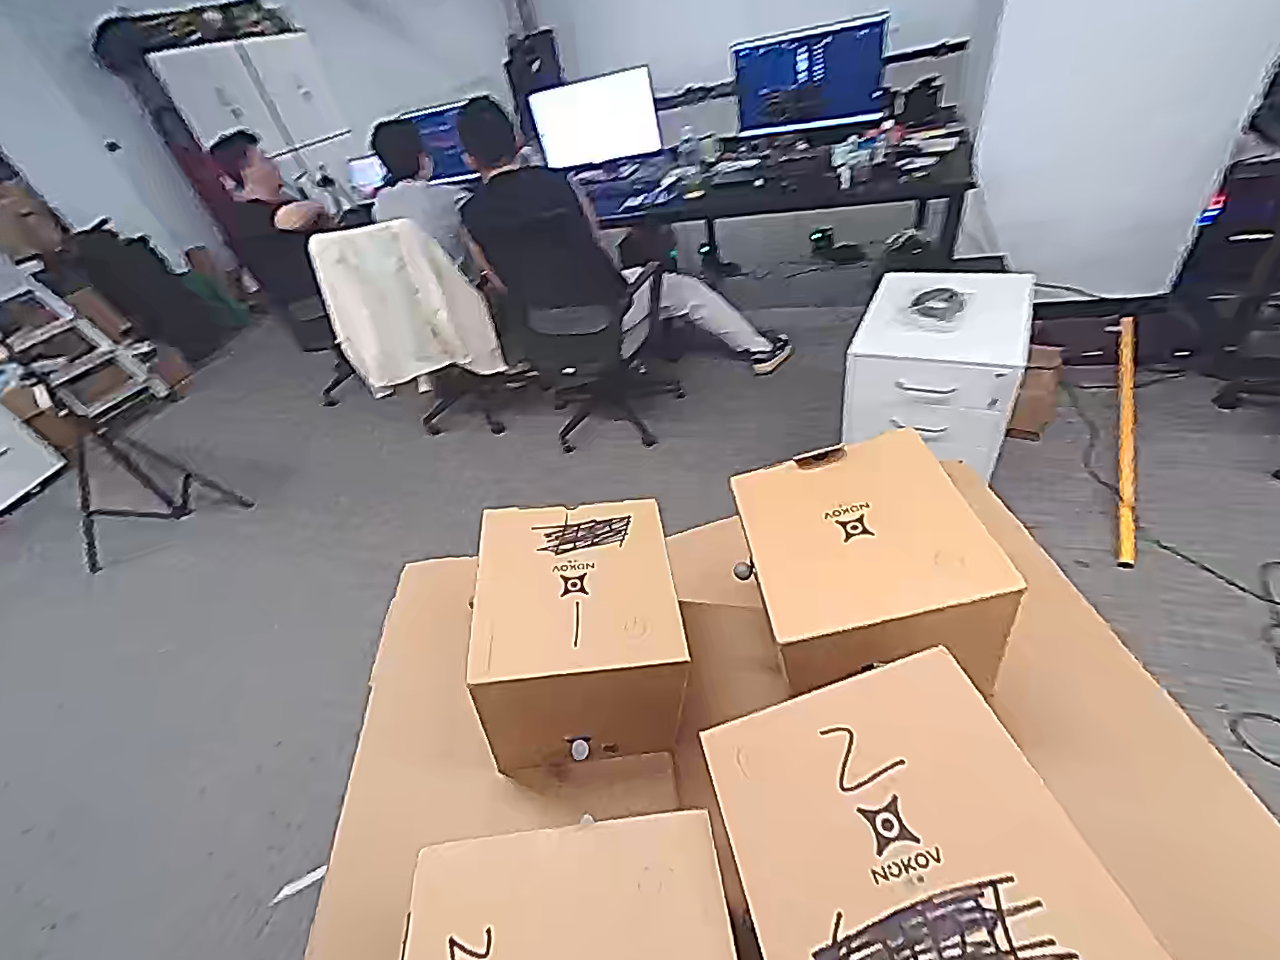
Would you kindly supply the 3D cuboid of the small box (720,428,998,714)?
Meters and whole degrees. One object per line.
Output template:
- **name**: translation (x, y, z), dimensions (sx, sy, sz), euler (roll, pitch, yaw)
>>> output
- **small box**: translation (0.183, 0.088, 0.484), dimensions (0.168, 0.176, 0.179), euler (-17, 41, 8)
